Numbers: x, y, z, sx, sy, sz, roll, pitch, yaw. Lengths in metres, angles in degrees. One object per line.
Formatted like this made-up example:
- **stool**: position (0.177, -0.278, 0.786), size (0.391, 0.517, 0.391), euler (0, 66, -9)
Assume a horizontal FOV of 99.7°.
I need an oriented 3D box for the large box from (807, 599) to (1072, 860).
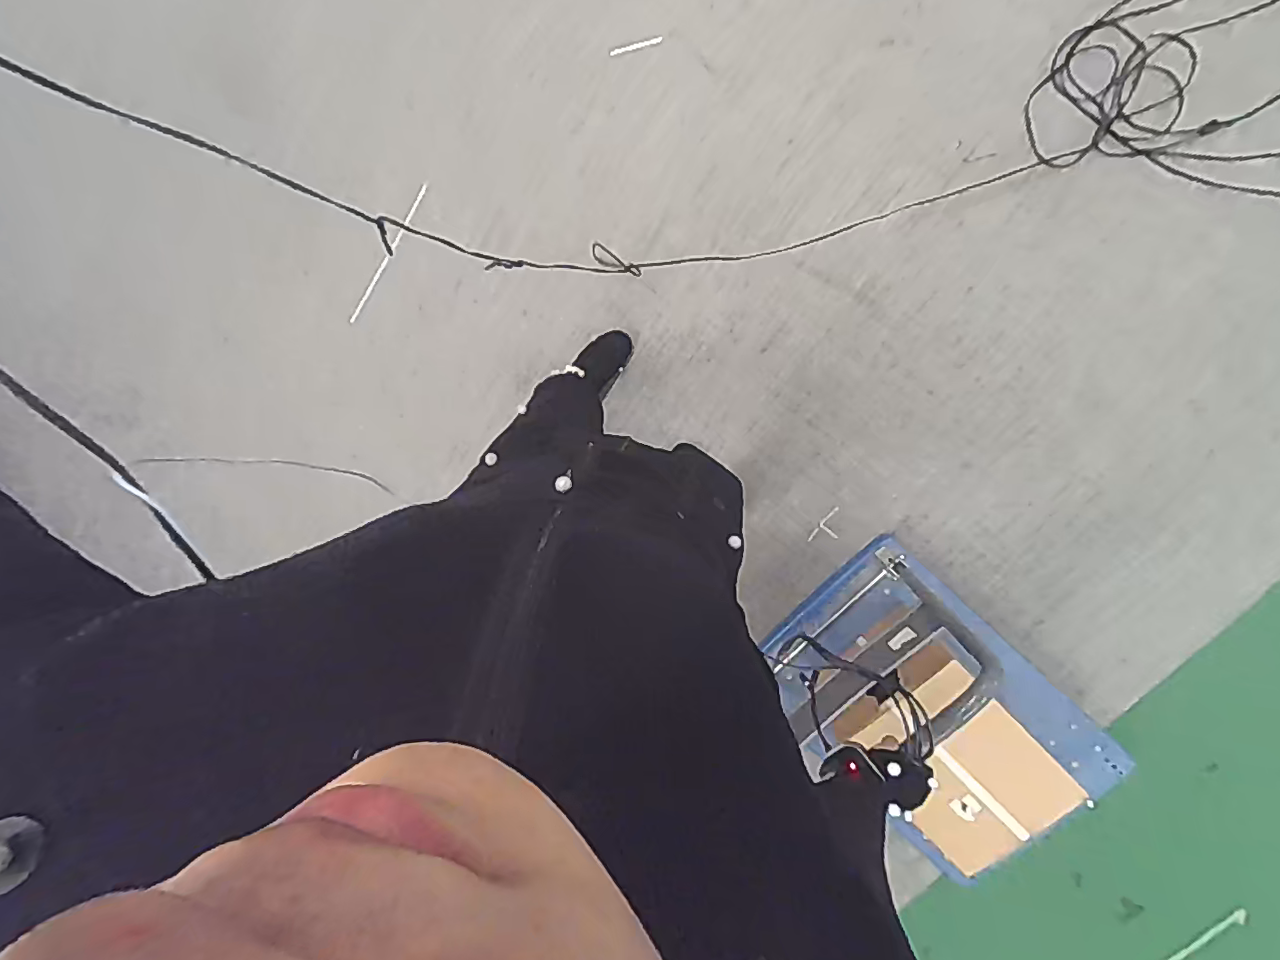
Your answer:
- **large box**: position (0.674, 0.568, 1.294), size (0.320, 0.320, 0.408), euler (-44, 92, 13)
